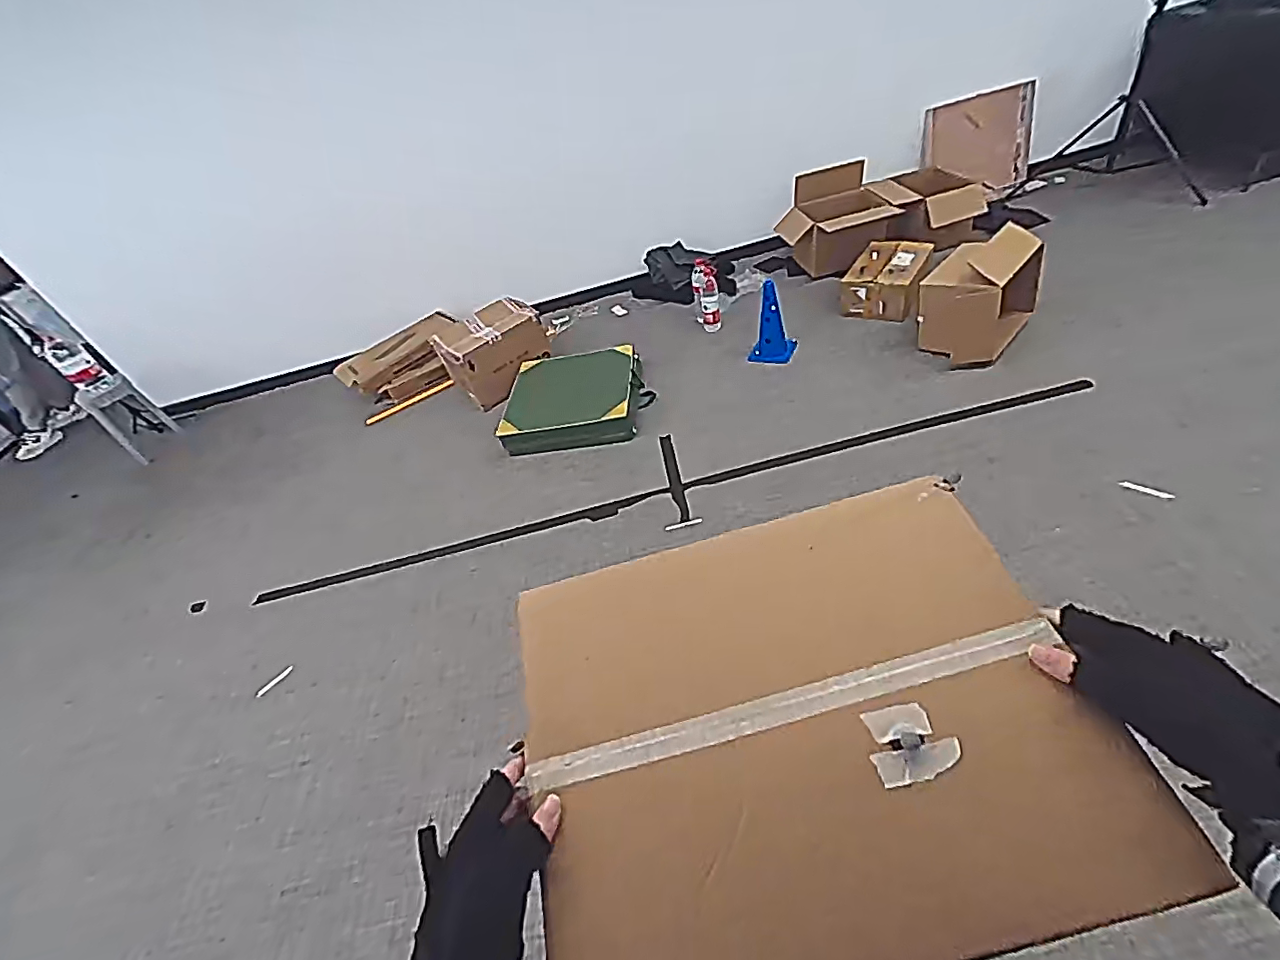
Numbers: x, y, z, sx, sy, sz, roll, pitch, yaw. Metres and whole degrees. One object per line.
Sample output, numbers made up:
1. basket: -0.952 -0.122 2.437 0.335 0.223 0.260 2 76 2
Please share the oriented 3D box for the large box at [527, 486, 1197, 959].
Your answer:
1. large box: 0.142 0.265 0.533 0.408 0.320 0.320 -17 53 0
